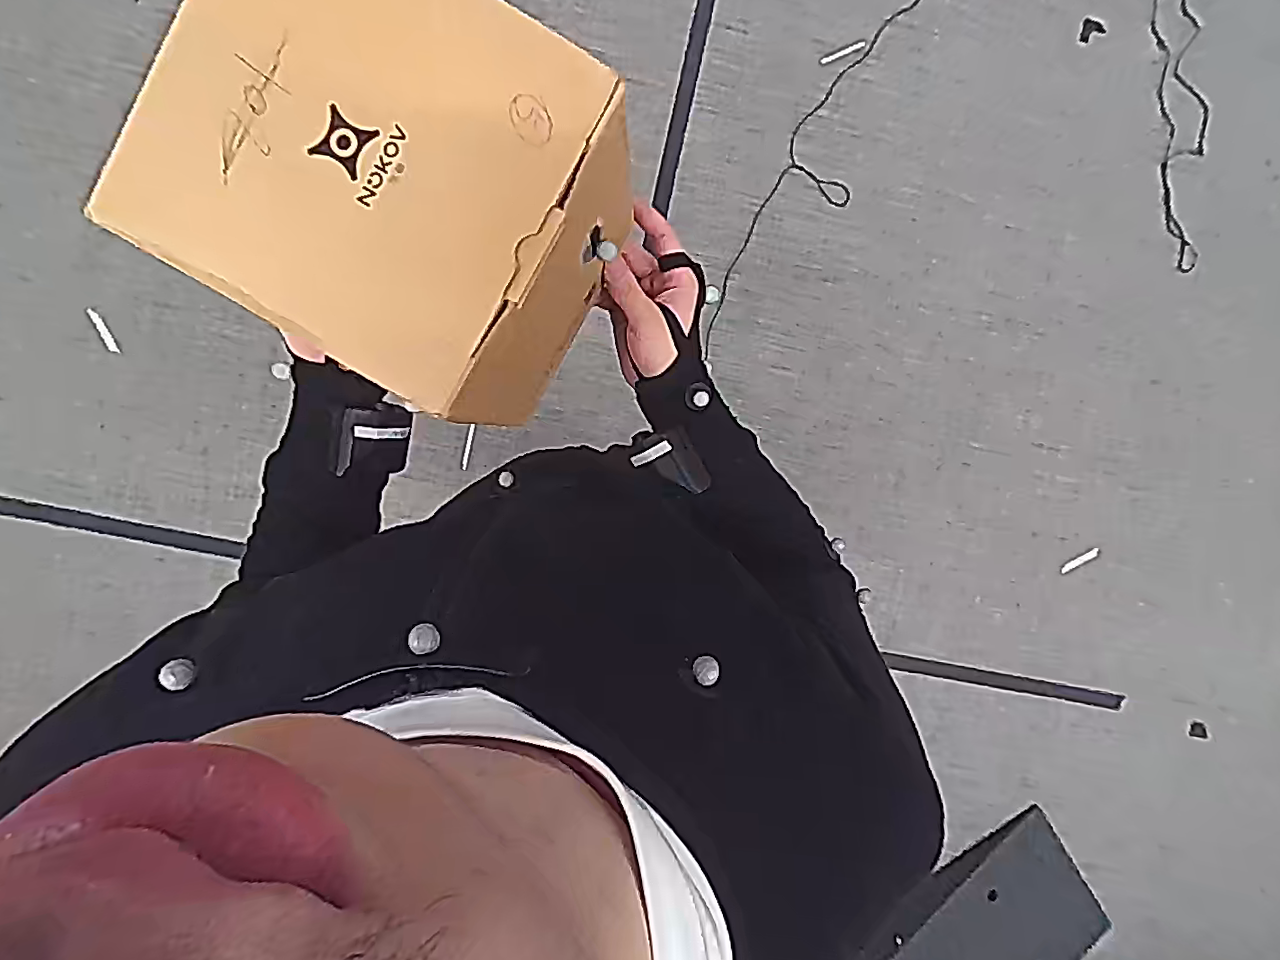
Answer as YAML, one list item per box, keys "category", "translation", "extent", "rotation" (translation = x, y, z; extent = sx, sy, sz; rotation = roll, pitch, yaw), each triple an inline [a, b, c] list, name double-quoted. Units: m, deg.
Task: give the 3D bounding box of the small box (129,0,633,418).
- category: "small box"
  translation: [-0.115, -0.148, 0.320]
  extent: [0.179, 0.176, 0.168]
  rotation: [29, 93, -1]
